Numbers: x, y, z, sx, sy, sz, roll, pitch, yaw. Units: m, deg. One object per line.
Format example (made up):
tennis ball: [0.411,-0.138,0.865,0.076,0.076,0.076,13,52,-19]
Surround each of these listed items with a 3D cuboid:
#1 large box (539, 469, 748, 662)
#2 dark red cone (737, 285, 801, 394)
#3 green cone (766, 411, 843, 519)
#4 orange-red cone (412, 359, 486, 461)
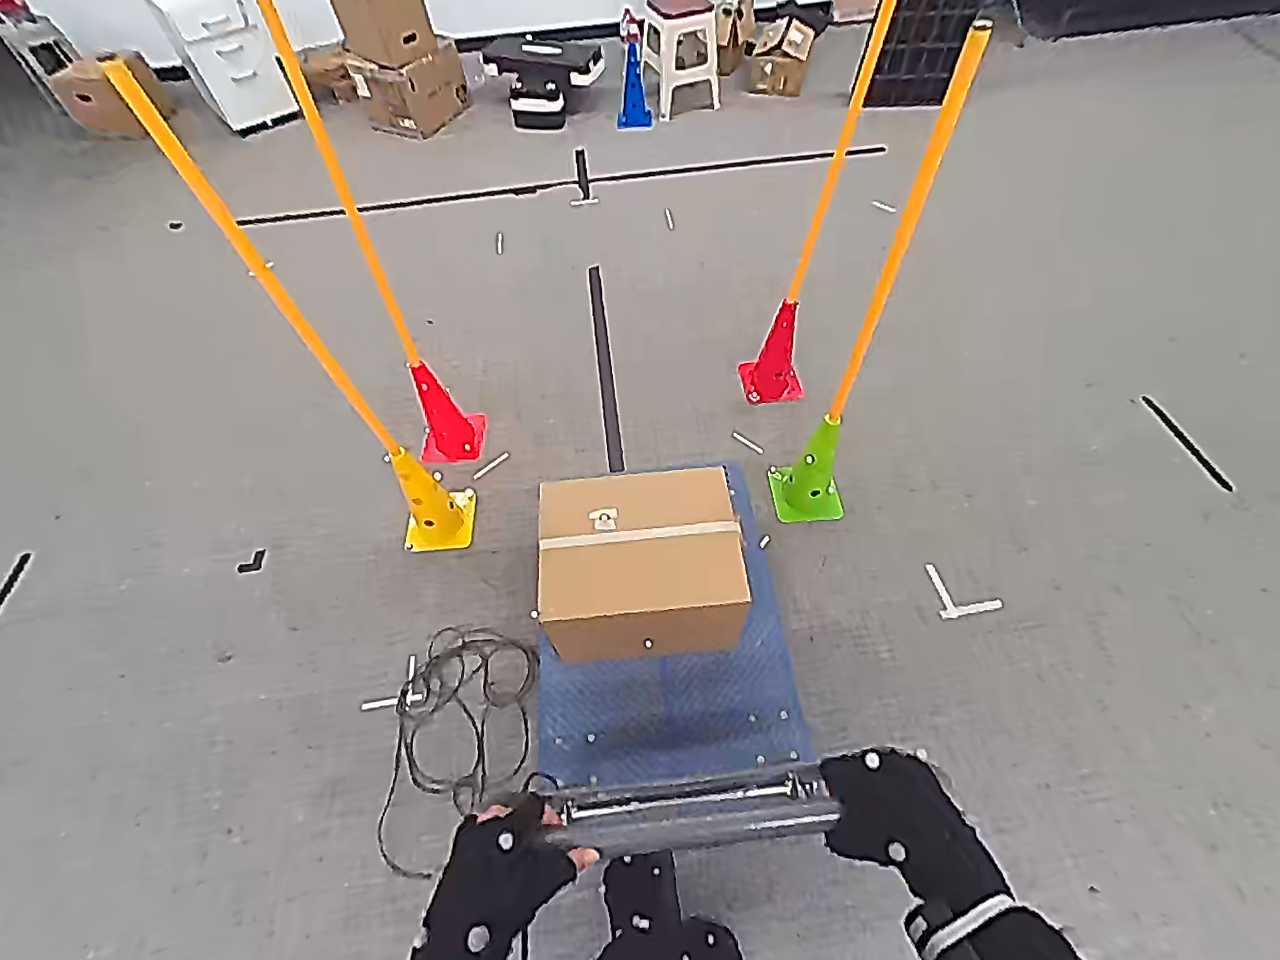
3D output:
large box: [0.002,0.203,1.224,0.408,0.320,0.320,-6,56,0]
dark red cone: [0.461,-0.474,1.806,0.201,0.394,0.202,-6,57,-4]
green cone: [0.506,-0.063,1.551,0.202,0.368,0.200,-4,56,-1]
orange-red cone: [-0.646,-0.243,1.725,0.198,0.360,0.199,-1,55,1]
